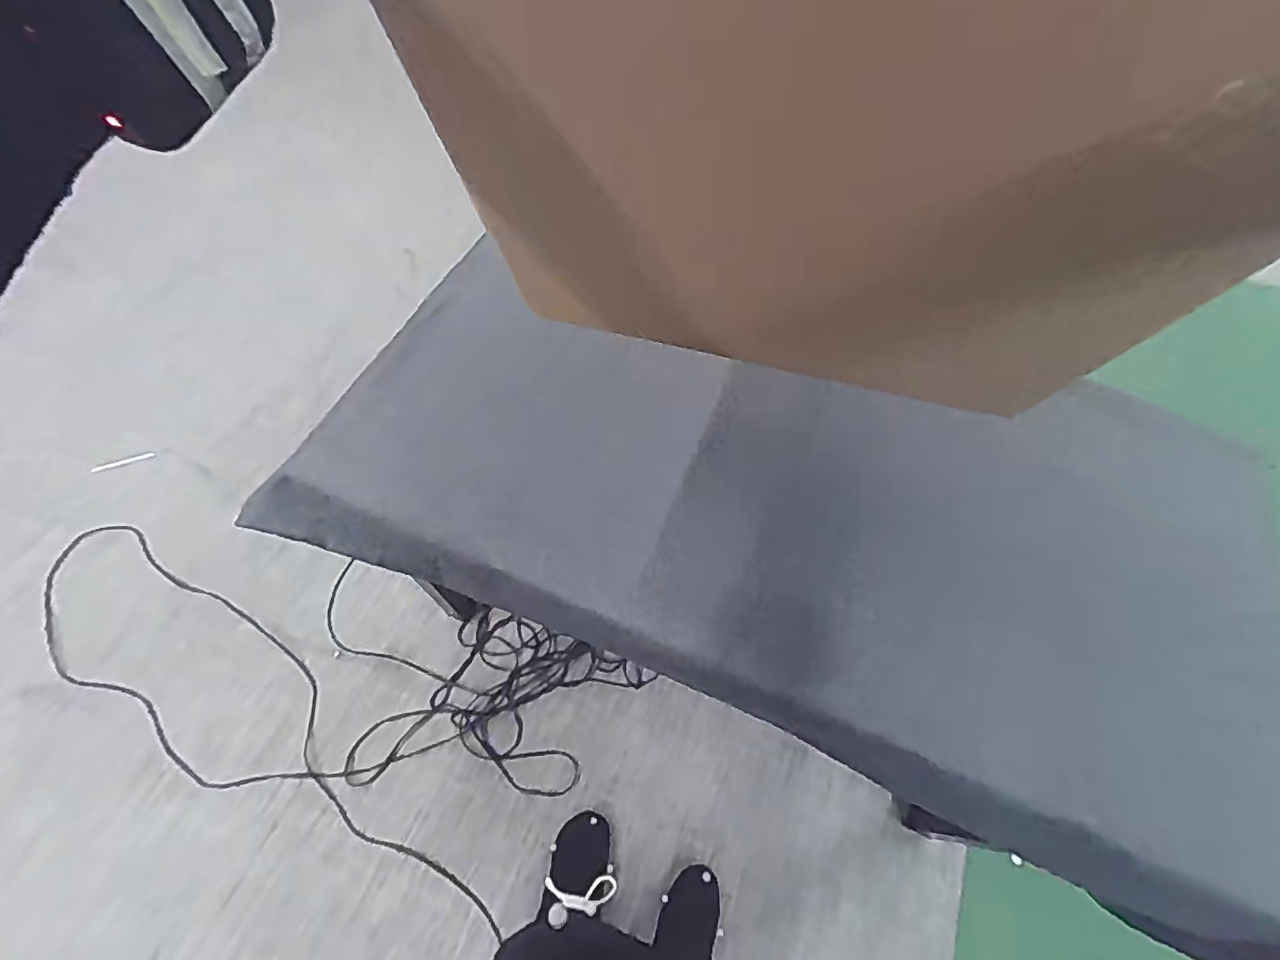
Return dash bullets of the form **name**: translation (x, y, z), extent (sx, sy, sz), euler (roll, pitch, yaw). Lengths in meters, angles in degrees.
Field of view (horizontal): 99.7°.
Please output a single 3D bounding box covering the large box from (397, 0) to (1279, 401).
- **large box**: translation (0.123, -0.280, 0.335), extent (0.408, 0.320, 0.320), euler (14, 78, 6)
